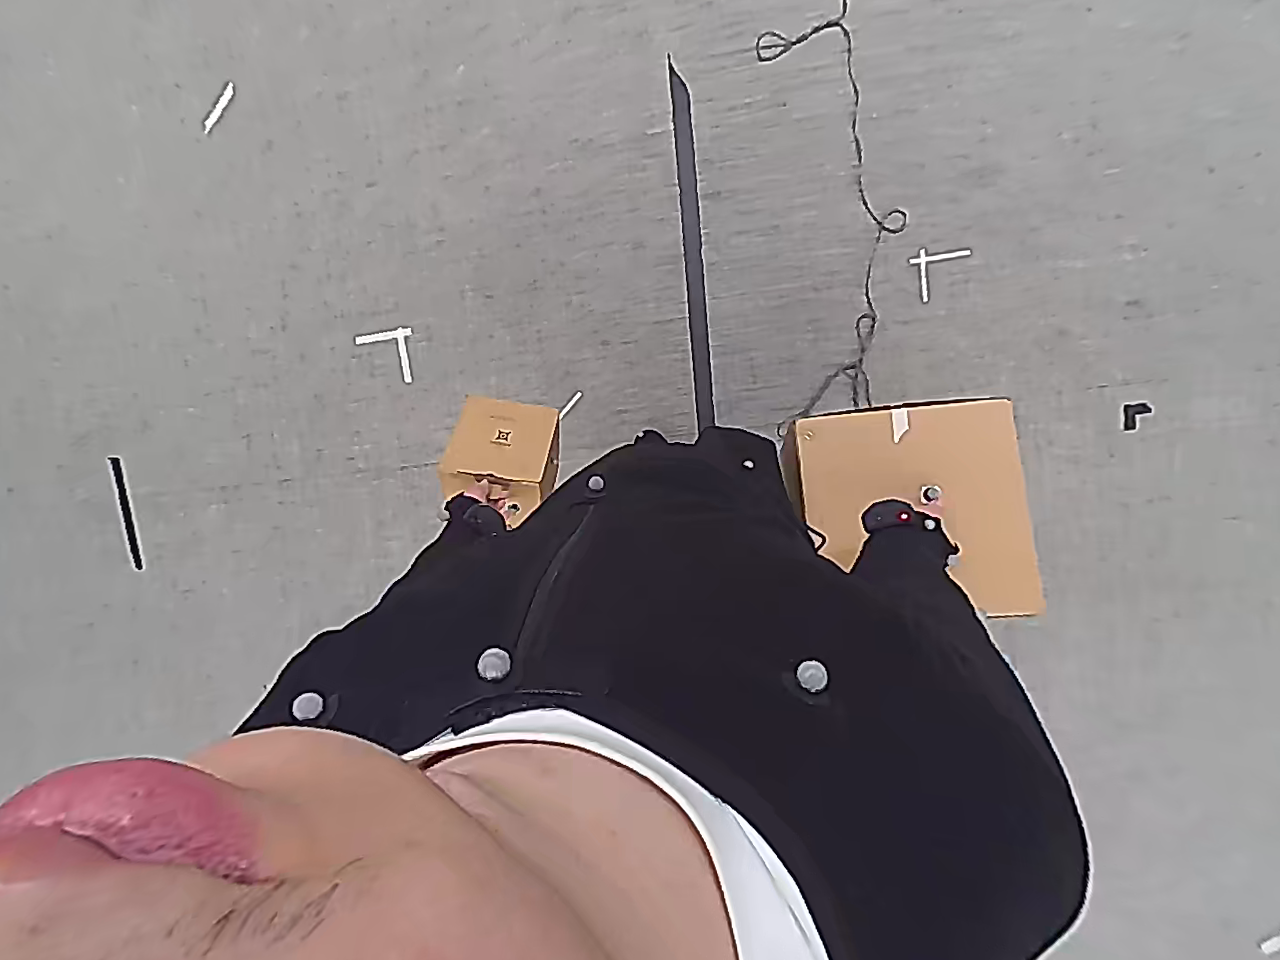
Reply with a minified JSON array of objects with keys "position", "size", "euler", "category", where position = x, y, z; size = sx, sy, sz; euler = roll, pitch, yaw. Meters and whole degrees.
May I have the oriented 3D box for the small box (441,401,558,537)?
[{"position":[-0.247,-0.016,0.994],"size":[0.168,0.179,0.176],"euler":[9,140,-4],"category":"small box"}]
